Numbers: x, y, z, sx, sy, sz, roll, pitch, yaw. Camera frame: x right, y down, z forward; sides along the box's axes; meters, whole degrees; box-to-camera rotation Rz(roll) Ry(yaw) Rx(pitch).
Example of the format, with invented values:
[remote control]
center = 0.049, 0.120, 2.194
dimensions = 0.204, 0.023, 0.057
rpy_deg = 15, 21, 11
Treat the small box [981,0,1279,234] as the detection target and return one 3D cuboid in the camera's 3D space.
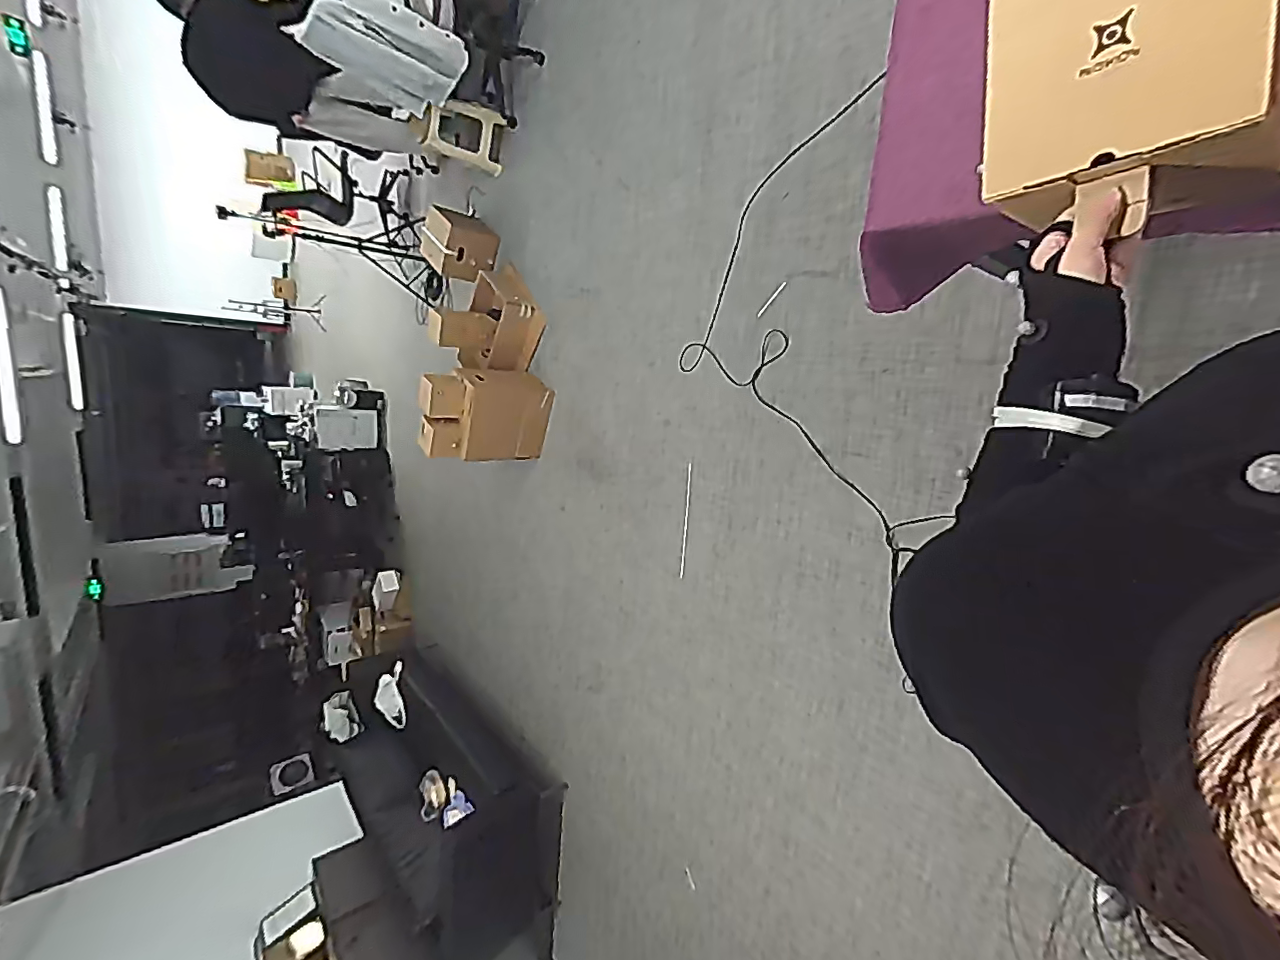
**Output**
[small box]
center = 0.420, -0.335, 0.464
dimensions = 0.168, 0.176, 0.179
rpy_deg = 6, 101, 52
